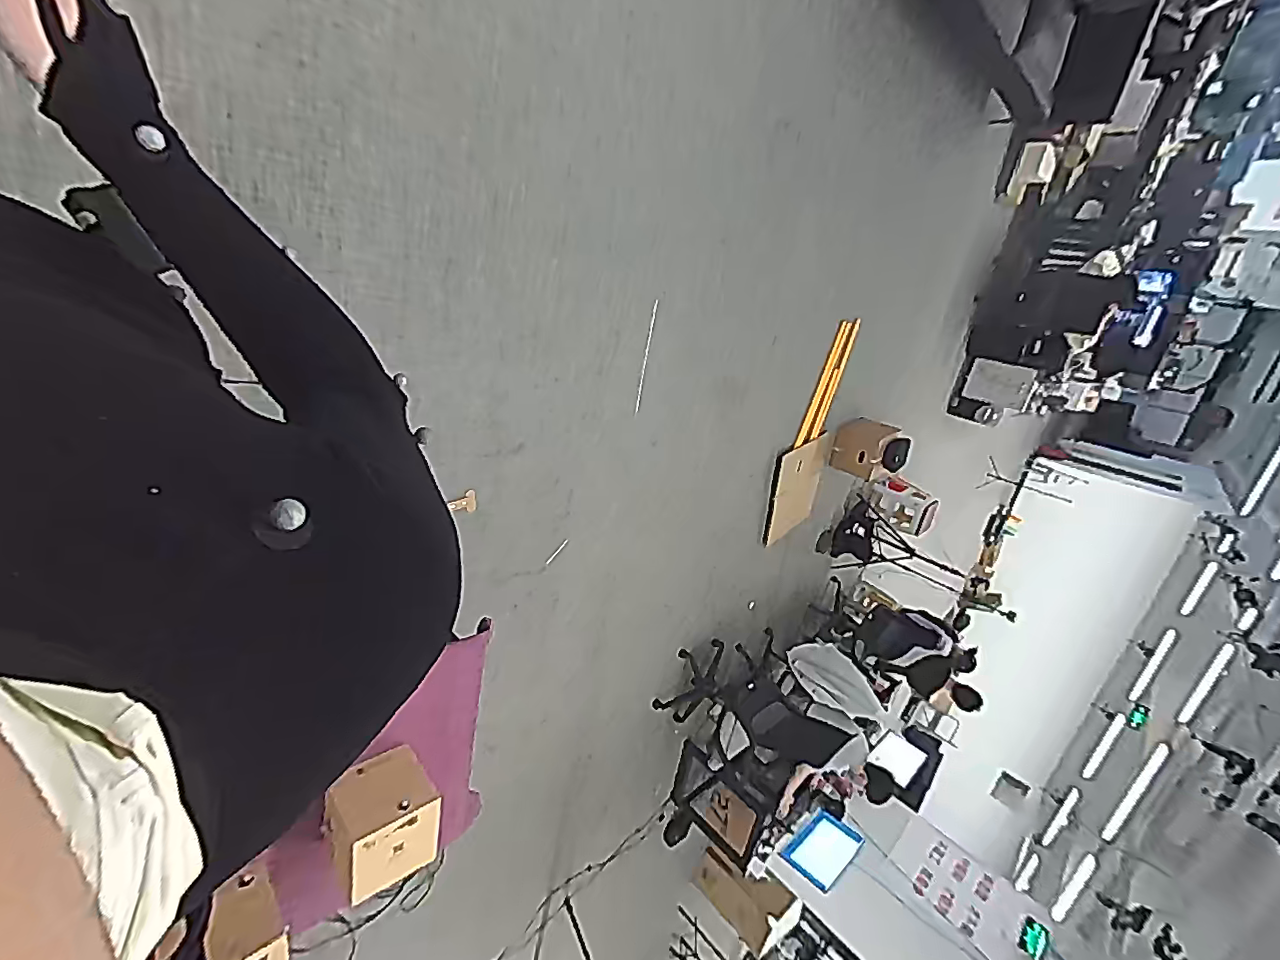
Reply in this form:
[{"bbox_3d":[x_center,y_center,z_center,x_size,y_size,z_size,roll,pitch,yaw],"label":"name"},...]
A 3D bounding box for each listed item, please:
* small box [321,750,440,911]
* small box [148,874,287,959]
[{"bbox_3d":[-0.527,0.693,1.091,0.168,0.176,0.179,-9,117,-46],"label":"small box"},{"bbox_3d":[-0.737,0.845,0.948,0.168,0.176,0.179,-10,118,-44],"label":"small box"}]
